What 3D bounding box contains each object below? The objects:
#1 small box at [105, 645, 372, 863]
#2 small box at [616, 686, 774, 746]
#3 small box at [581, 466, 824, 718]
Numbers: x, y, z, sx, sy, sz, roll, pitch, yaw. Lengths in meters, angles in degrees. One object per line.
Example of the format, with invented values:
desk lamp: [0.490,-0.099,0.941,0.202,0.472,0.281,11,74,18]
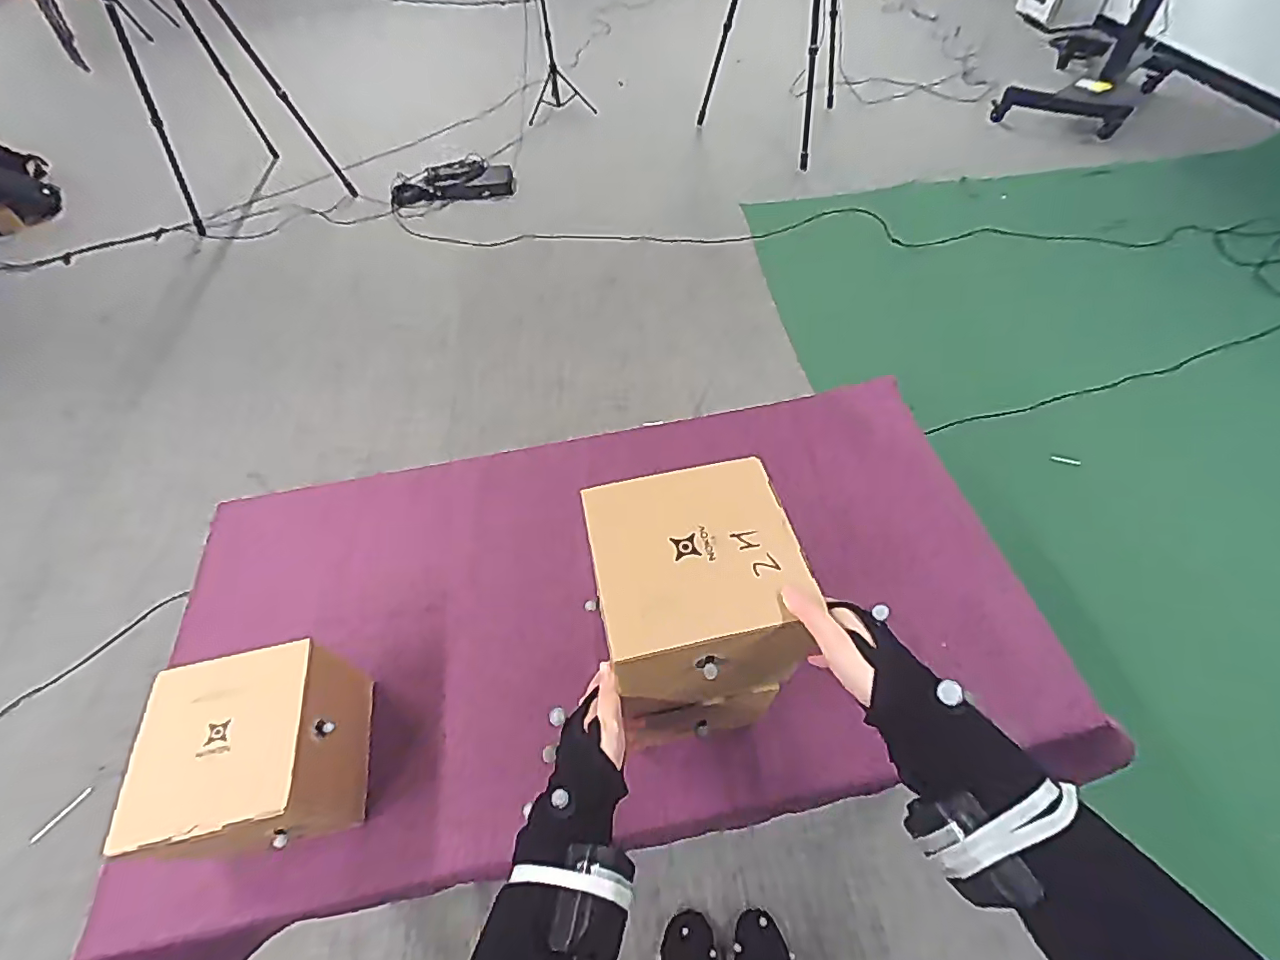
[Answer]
small box: [-0.427,0.314,0.616,0.168,0.176,0.179,-11,54,-6]
small box: [0.050,0.212,0.661,0.168,0.176,0.179,-10,55,-4]
small box: [0.048,0.113,0.523,0.179,0.176,0.168,-10,54,-7]
